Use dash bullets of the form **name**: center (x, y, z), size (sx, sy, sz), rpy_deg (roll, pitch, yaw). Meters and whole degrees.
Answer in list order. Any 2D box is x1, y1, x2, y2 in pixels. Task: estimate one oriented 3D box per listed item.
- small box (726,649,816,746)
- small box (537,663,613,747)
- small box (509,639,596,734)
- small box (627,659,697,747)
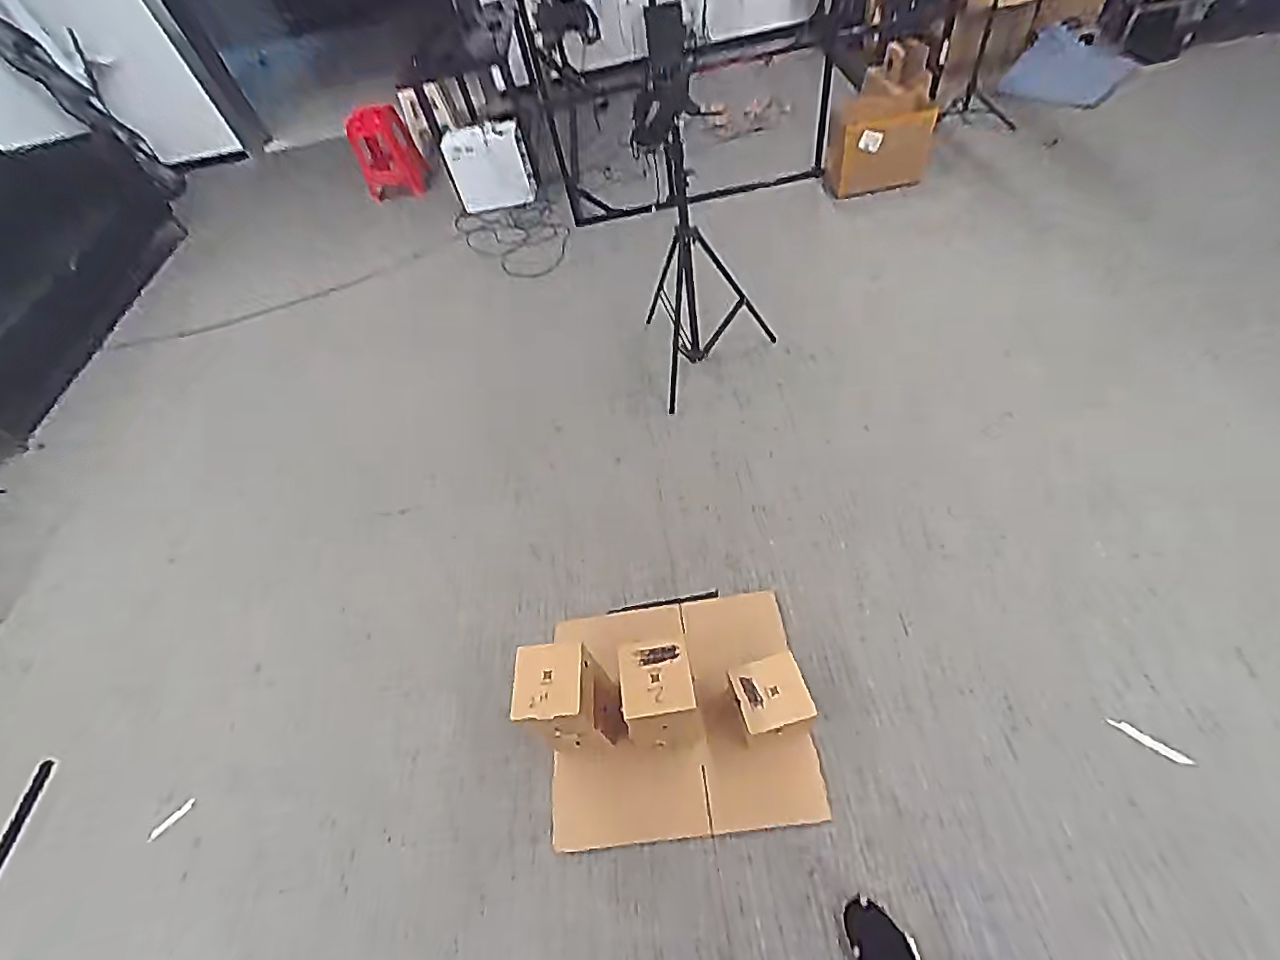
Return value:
- **small box**: center (0.333, 0.565, 1.392), size (0.179, 0.176, 0.168), rpy_deg (-17, 53, -1)
- **small box**: center (-0.169, 0.612, 1.458), size (0.168, 0.176, 0.179), rpy_deg (-8, 54, 6)
- **small box**: center (-0.207, 0.511, 1.332), size (0.168, 0.176, 0.179), rpy_deg (-8, 53, 7)
- **small box**: center (0.058, 0.590, 1.429), size (0.168, 0.176, 0.179), rpy_deg (-7, 53, 7)
